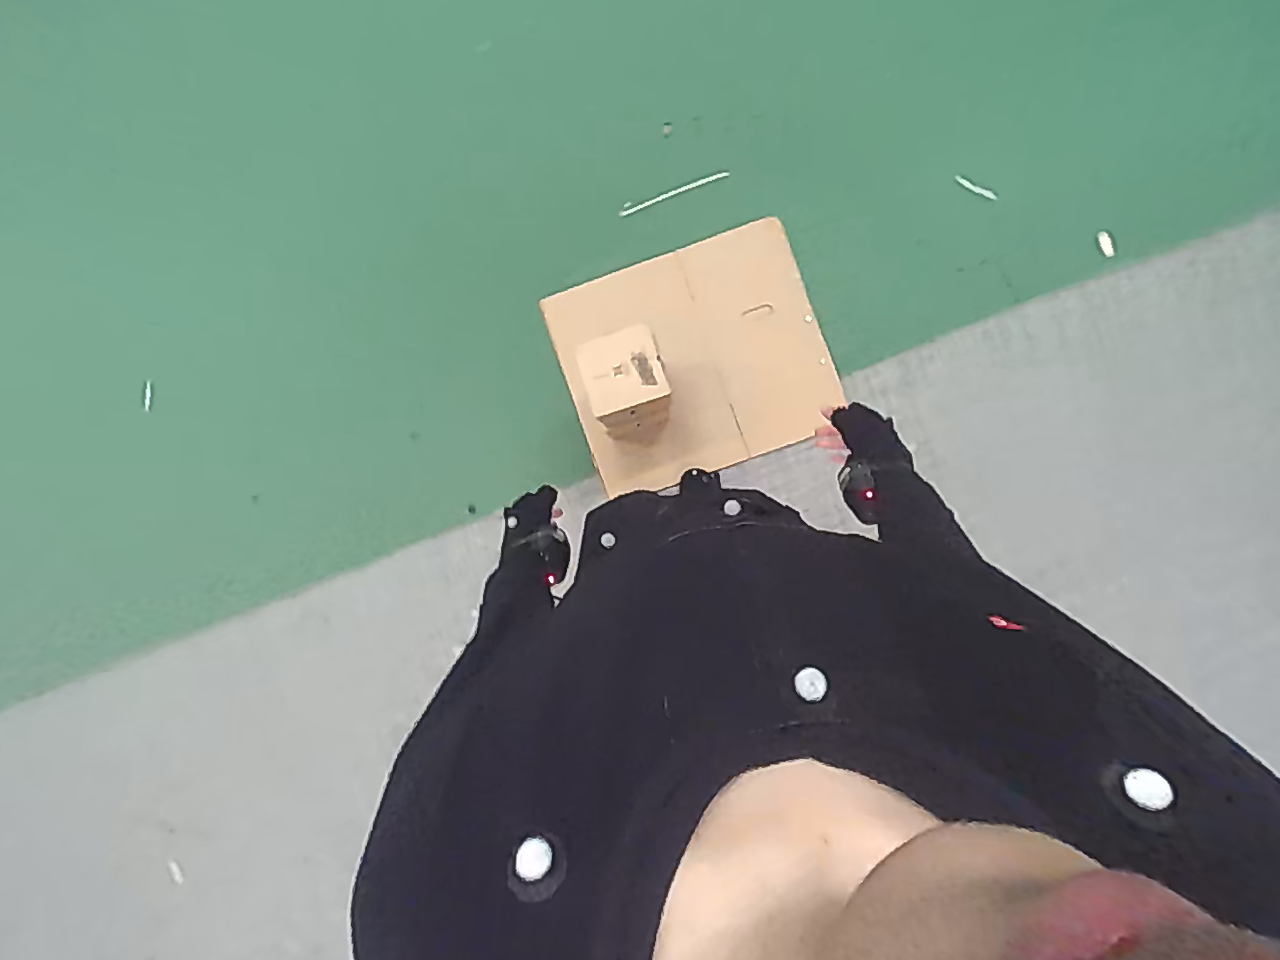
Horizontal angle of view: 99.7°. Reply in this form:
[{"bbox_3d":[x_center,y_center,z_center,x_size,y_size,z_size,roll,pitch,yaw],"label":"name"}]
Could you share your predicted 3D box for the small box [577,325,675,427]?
[{"bbox_3d":[-0.027,-0.229,1.230,0.179,0.176,0.168,-18,88,5],"label":"small box"}]
